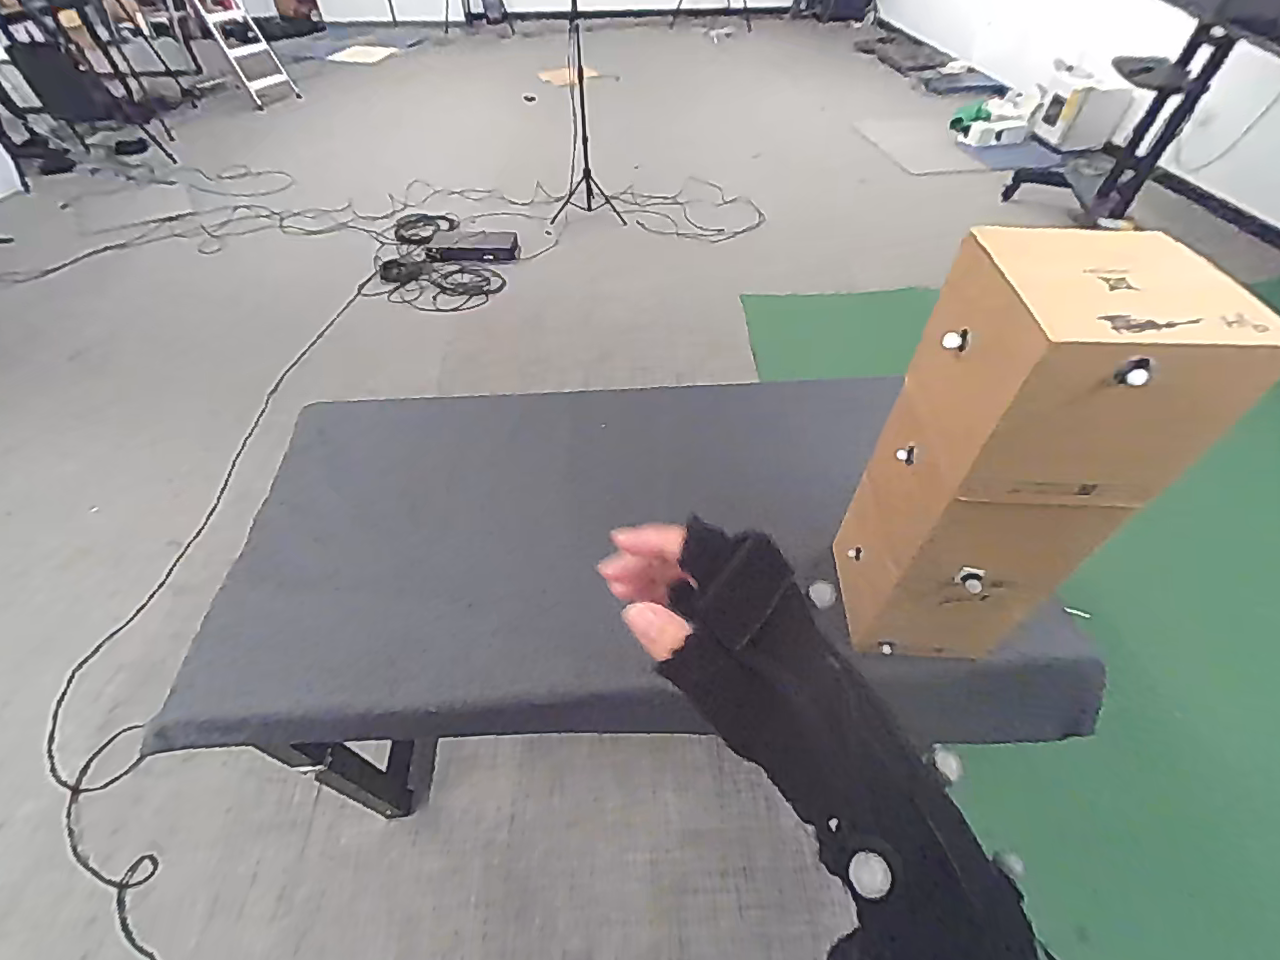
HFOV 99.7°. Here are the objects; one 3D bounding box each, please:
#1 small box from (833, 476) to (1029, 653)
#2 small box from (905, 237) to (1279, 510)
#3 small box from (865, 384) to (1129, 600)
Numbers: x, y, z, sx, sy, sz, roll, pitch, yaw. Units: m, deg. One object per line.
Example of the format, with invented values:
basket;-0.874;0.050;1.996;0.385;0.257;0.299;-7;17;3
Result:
small box;0.373;0.116;0.730;0.168;0.176;0.179;3;47;3
small box;0.361;-0.096;0.483;0.168;0.176;0.179;3;47;4
small box;0.369;0.012;0.607;0.168;0.176;0.179;2;49;4
